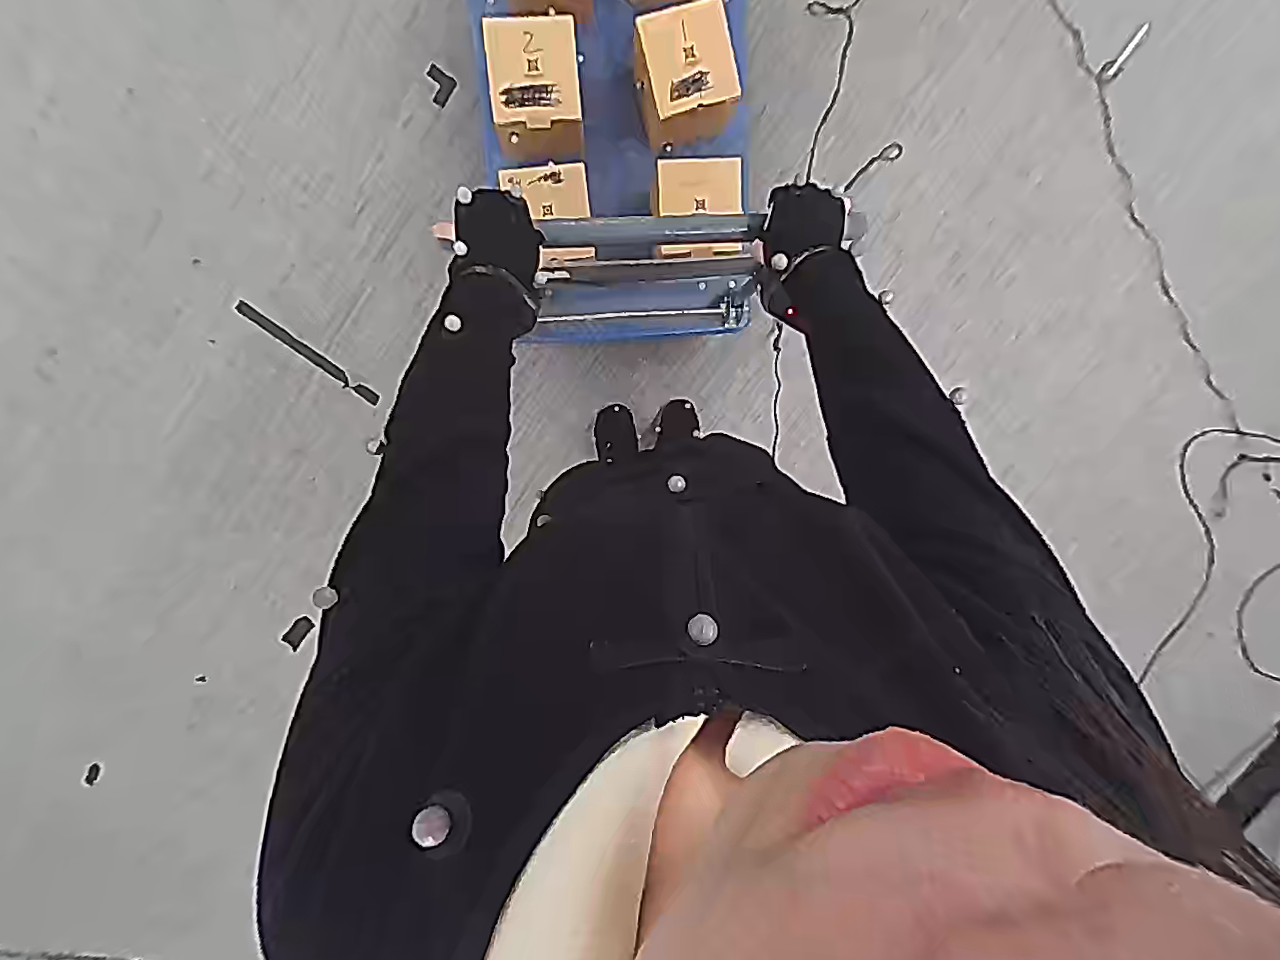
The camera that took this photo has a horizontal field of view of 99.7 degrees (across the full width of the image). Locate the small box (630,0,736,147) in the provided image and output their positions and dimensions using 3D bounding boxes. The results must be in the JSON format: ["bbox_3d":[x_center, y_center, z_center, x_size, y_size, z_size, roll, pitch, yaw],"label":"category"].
[{"bbox_3d":[0.081,-0.803,1.090,0.168,0.176,0.179,-16,101,-1],"label":"small box"}]

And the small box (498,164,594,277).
[{"bbox_3d":[-0.187,-0.526,1.122,0.168,0.176,0.179,-8,102,-4],"label":"small box"}]

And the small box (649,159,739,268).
[{"bbox_3d":[0.109,-0.551,1.141,0.168,0.176,0.179,-3,100,-4],"label":"small box"}]

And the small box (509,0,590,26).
[{"bbox_3d":[-0.179,-1.016,1.027,0.168,0.176,0.179,-2,102,-4],"label":"small box"}]
